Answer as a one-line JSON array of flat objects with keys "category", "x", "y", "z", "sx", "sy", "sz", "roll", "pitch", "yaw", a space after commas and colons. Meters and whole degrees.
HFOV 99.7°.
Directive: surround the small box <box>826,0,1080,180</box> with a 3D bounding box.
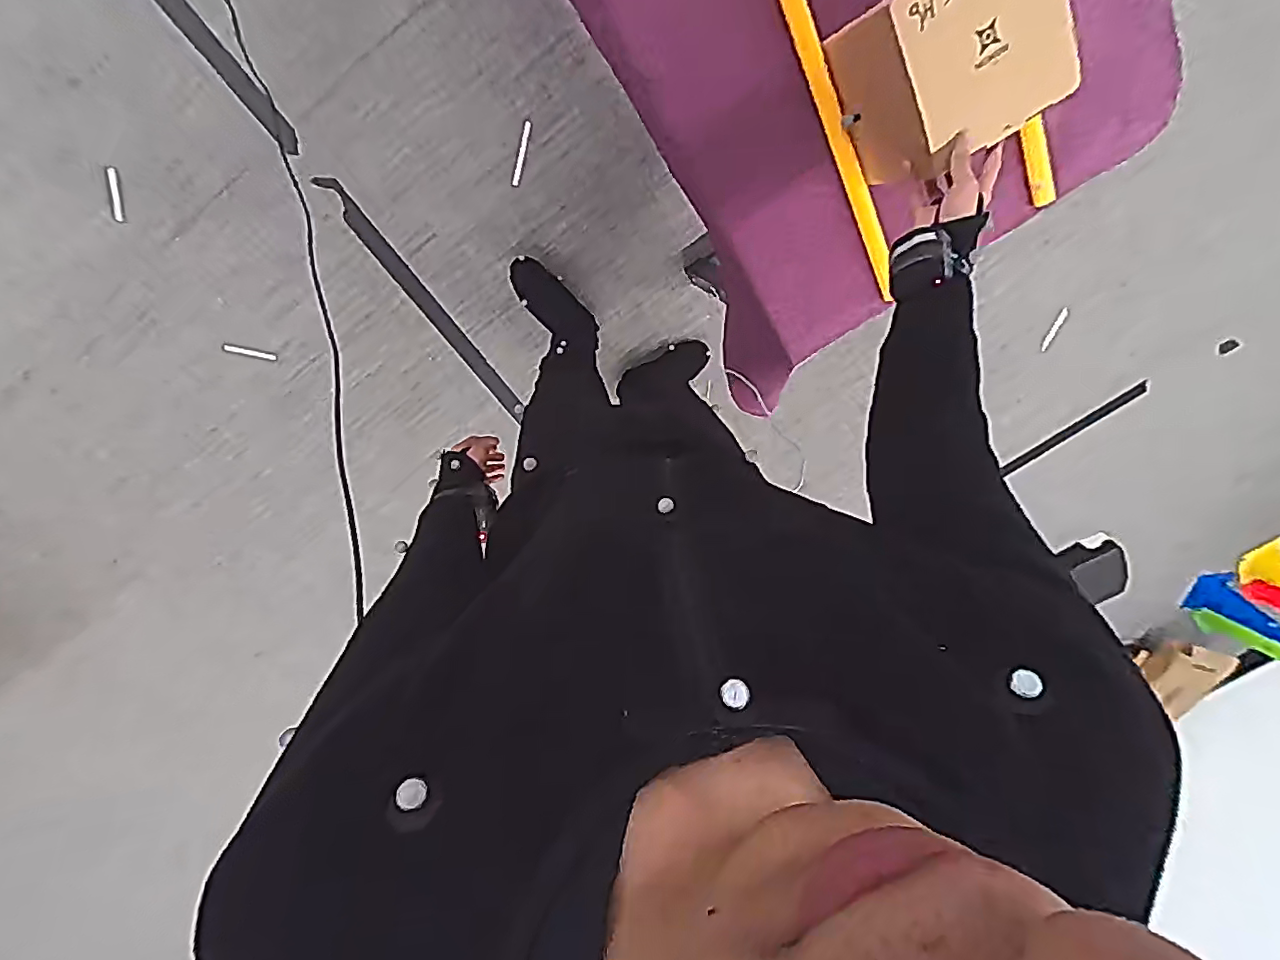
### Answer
[{"category": "small box", "x": 0.341, "y": -0.469, "z": 0.610, "sx": 0.168, "sy": 0.176, "sz": 0.179, "roll": -31, "pitch": 117, "yaw": 7}]
